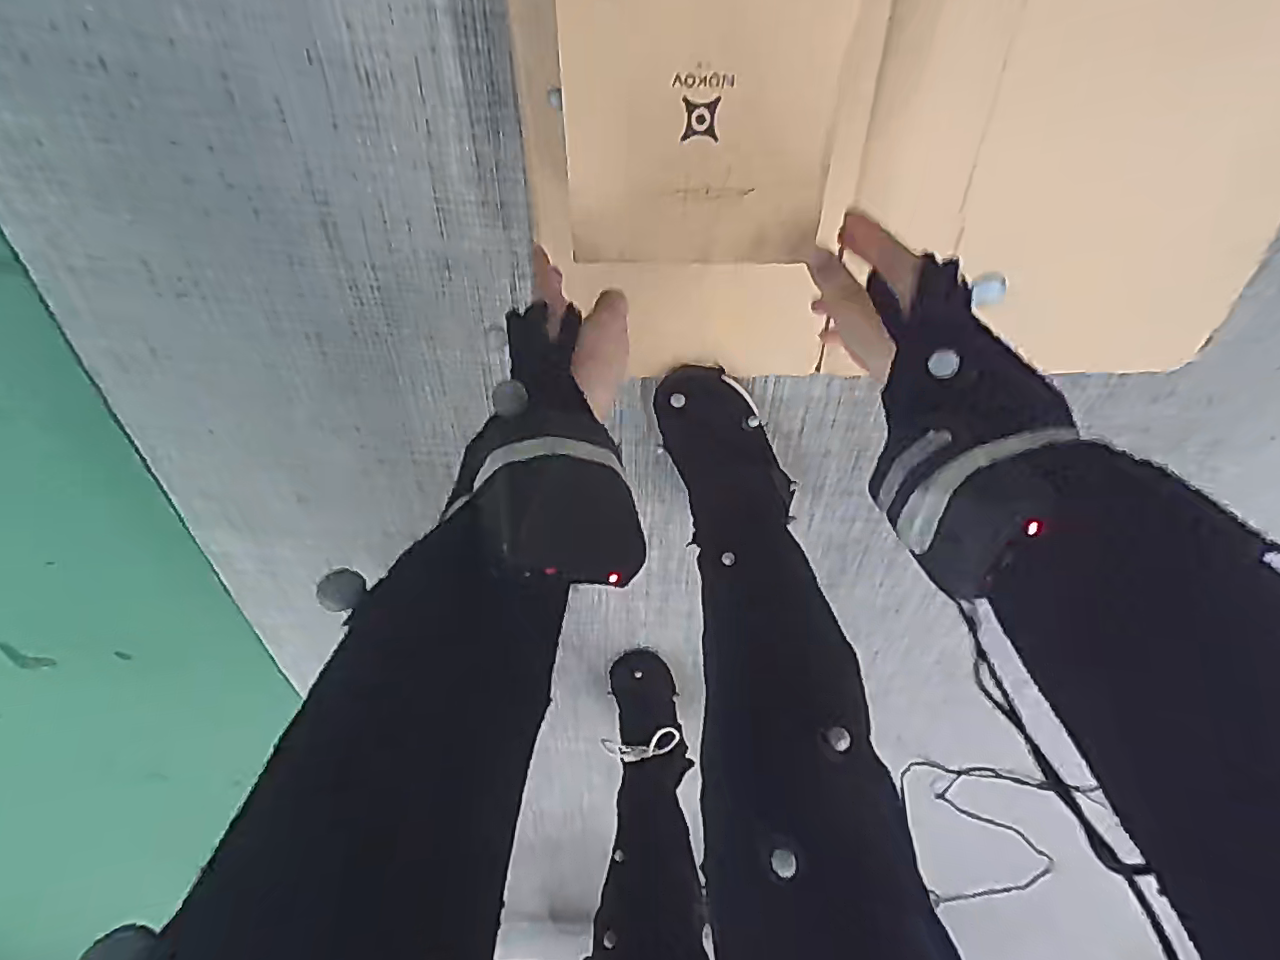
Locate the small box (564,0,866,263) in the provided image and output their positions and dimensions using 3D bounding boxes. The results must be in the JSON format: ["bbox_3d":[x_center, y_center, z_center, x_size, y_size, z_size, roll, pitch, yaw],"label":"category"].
[{"bbox_3d":[0.041,-0.267,0.382,0.168,0.176,0.179,1,128,2],"label":"small box"}]
